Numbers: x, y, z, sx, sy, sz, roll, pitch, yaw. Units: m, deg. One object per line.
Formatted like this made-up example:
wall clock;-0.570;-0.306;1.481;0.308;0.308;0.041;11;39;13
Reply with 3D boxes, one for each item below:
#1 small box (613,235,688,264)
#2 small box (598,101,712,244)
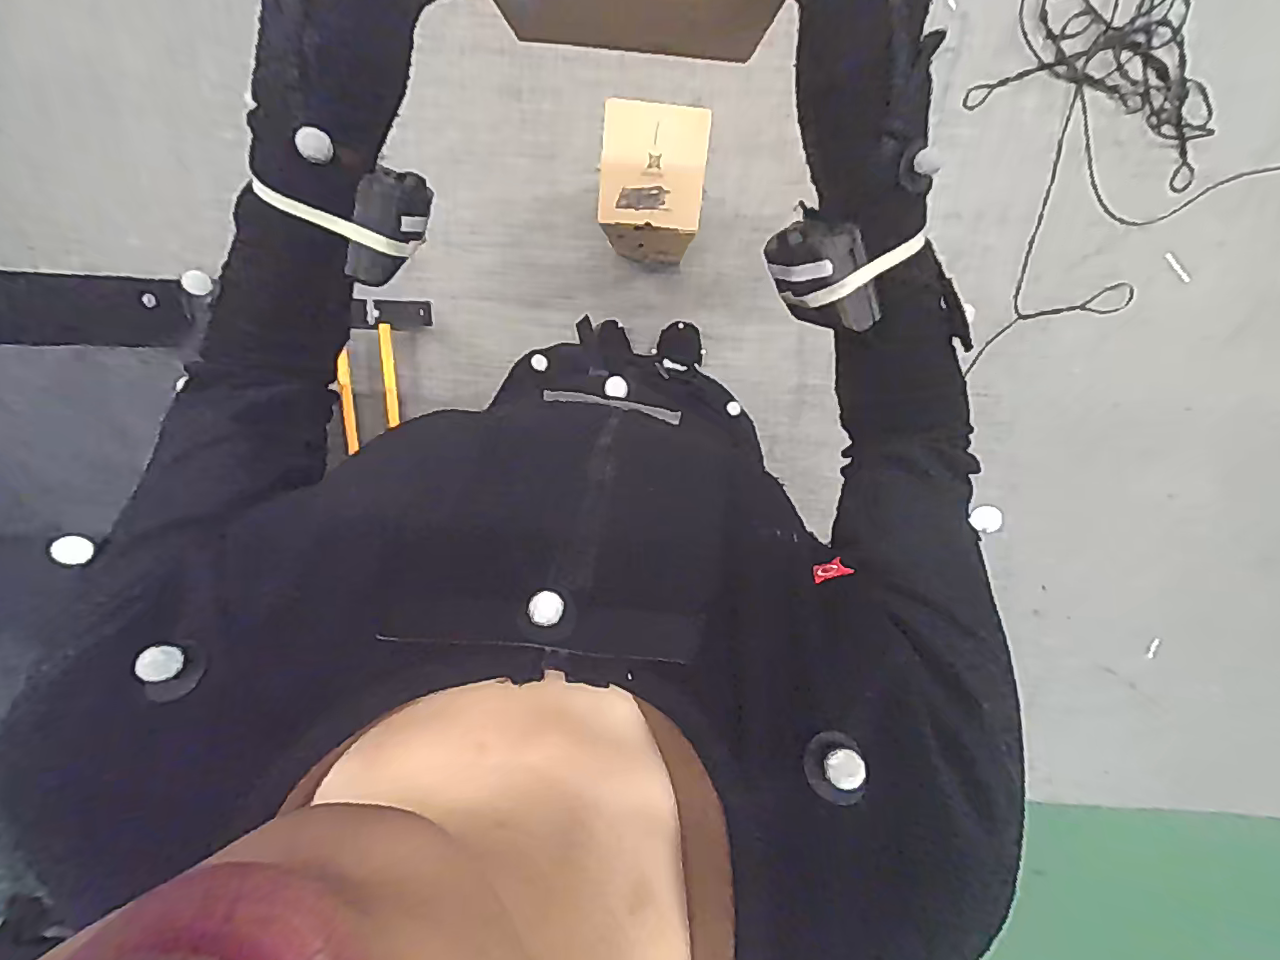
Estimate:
small box;0.034;-0.607;1.240;0.168;0.176;0.179;9;107;0
small box;0.024;-0.513;0.928;0.168;0.176;0.179;6;107;-1
